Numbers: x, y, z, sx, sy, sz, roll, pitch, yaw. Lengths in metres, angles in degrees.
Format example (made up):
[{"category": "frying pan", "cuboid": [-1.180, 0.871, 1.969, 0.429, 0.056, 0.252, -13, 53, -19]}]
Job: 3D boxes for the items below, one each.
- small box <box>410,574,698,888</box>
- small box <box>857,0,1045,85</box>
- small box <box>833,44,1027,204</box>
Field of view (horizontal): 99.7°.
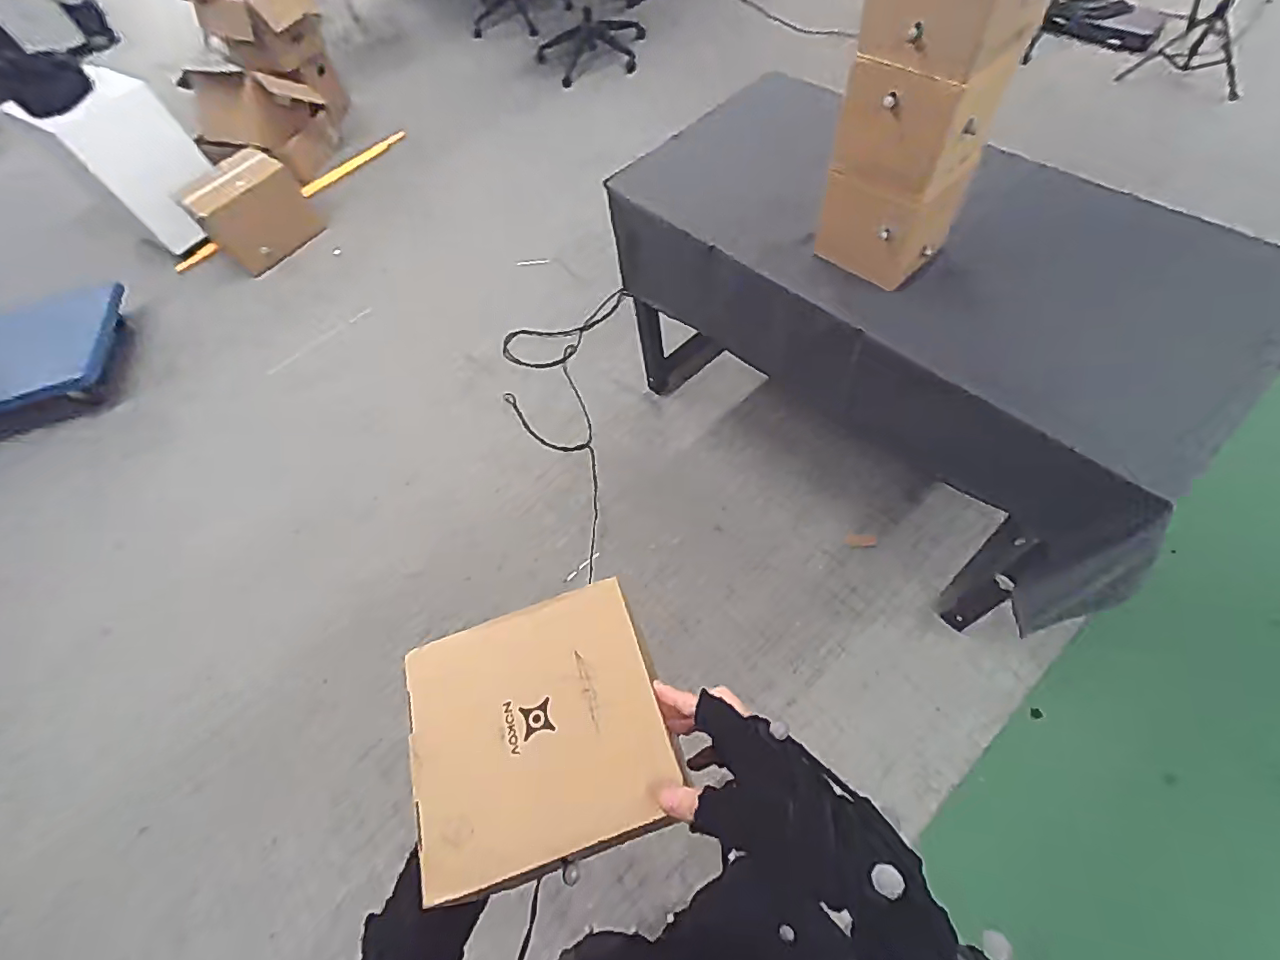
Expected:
[{"category": "small box", "cuboid": [-0.063, 0.208, 0.447, 0.179, 0.176, 0.168, -20, 56, -2]}, {"category": "small box", "cuboid": [0.413, -0.645, 0.692, 0.168, 0.176, 0.179, -39, 63, -15]}, {"category": "small box", "cuboid": [0.429, -0.558, 0.830, 0.168, 0.176, 0.179, -41, 63, -16]}]
